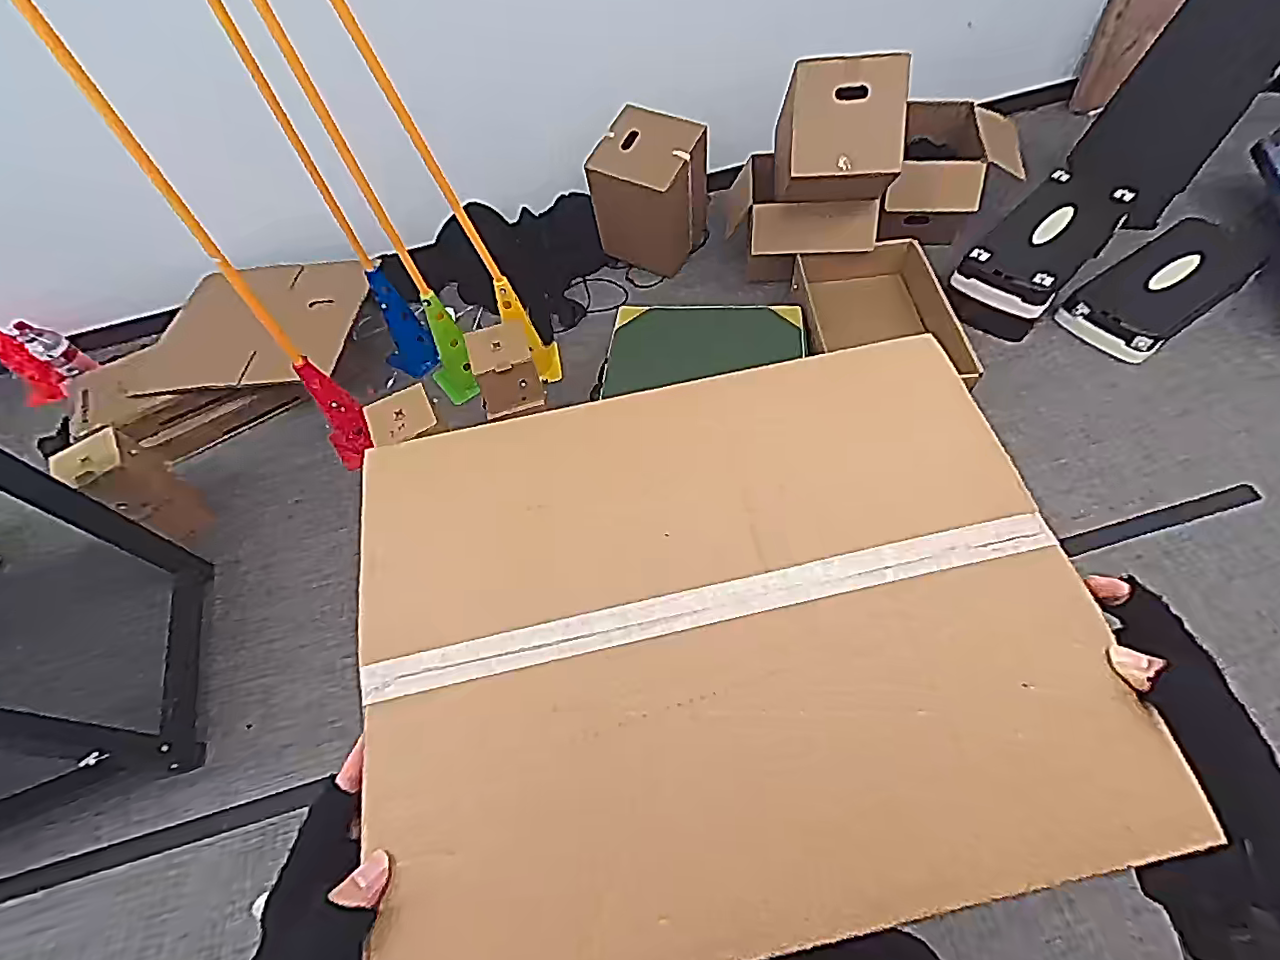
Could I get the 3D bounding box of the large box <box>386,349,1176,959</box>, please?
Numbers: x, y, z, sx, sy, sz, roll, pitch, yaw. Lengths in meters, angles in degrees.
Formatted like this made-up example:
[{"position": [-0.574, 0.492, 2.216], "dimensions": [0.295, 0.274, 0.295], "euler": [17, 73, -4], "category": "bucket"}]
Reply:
[{"position": [0.053, 0.145, 0.459], "dimensions": [0.408, 0.320, 0.320], "euler": [-13, 65, -2], "category": "large box"}]
